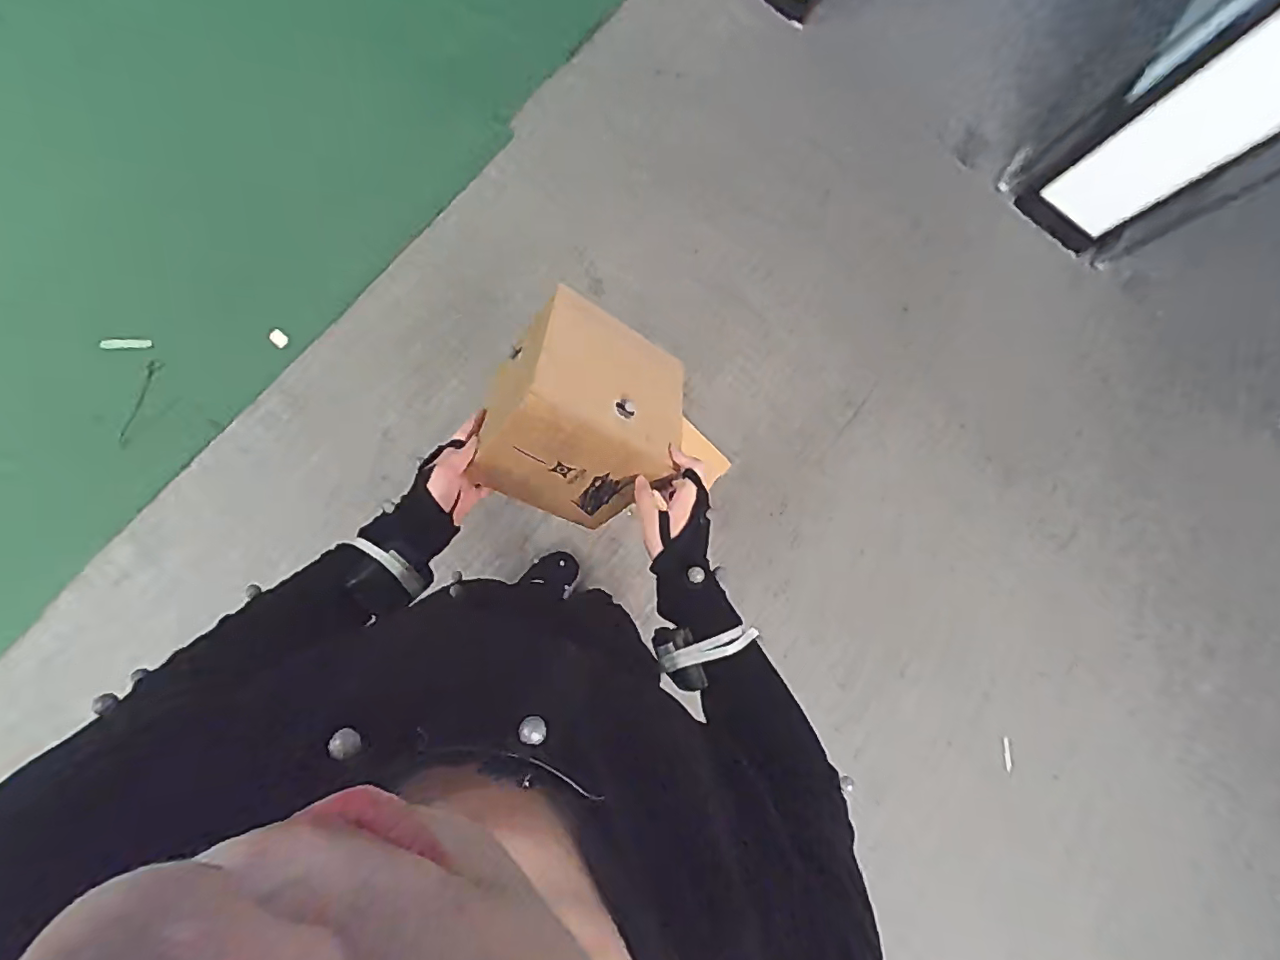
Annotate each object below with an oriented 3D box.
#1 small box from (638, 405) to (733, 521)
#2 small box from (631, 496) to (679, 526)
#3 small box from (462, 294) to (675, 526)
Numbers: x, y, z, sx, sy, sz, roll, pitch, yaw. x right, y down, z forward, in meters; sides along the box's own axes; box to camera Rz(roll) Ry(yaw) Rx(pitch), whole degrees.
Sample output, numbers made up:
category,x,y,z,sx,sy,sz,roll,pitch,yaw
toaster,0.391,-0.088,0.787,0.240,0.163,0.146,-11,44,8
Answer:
category,x,y,z,sx,sy,sz,roll,pitch,yaw
small box,0.062,-0.026,1.152,0.168,0.176,0.179,-44,90,-9
small box,0.054,0.001,1.313,0.179,0.176,0.168,42,82,0
small box,-0.073,-0.076,0.621,0.179,0.168,0.176,27,49,-26
